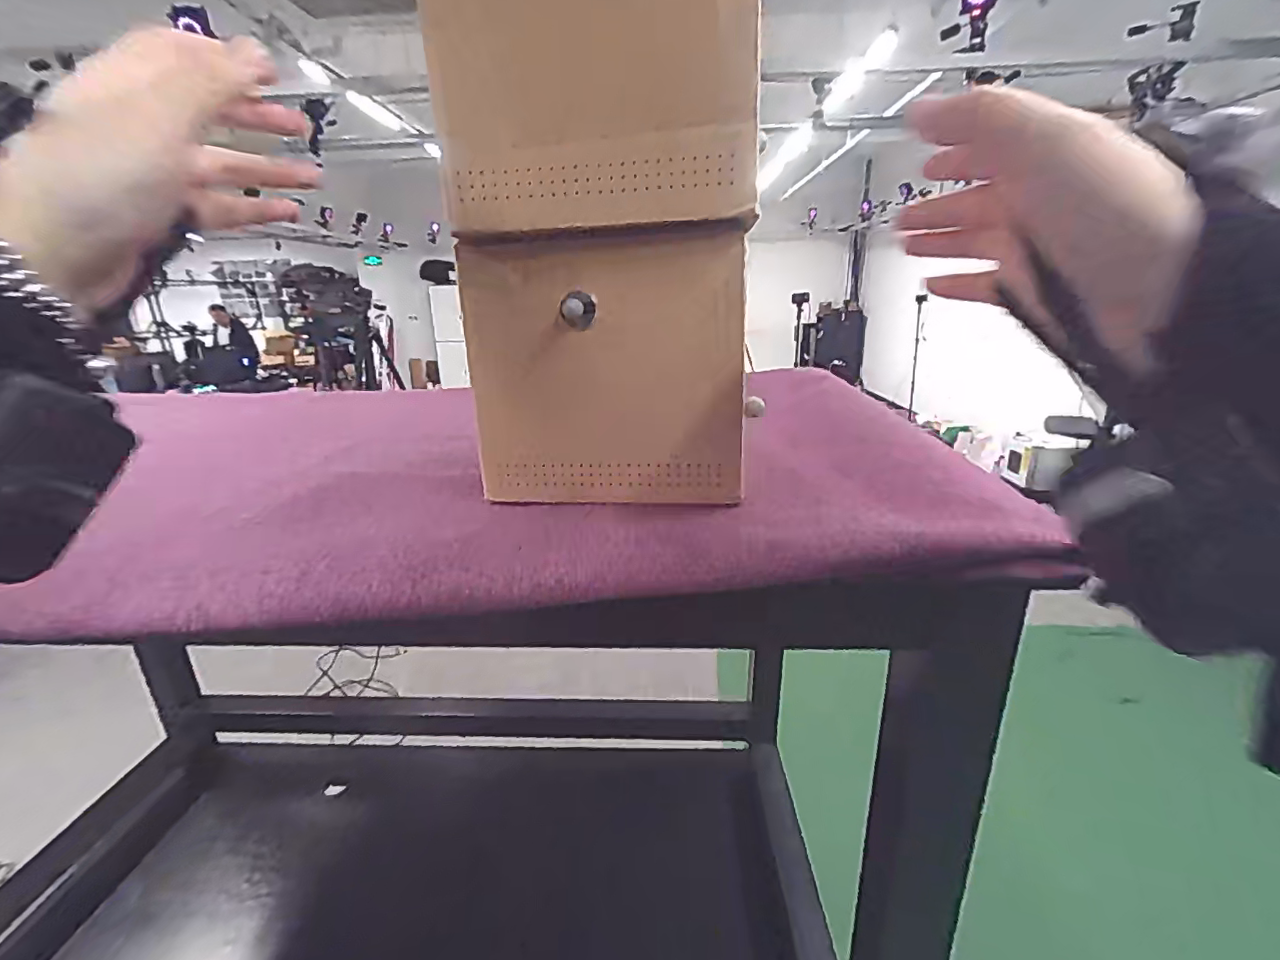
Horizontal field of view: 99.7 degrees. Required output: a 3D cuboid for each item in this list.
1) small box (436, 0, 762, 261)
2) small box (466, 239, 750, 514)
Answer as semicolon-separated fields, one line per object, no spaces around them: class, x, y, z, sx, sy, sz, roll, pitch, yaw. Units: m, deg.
small box;-0.016;-0.229;0.352;0.179;0.176;0.168;-1;17;5
small box;-0.007;-0.077;0.413;0.179;0.176;0.168;1;17;9
